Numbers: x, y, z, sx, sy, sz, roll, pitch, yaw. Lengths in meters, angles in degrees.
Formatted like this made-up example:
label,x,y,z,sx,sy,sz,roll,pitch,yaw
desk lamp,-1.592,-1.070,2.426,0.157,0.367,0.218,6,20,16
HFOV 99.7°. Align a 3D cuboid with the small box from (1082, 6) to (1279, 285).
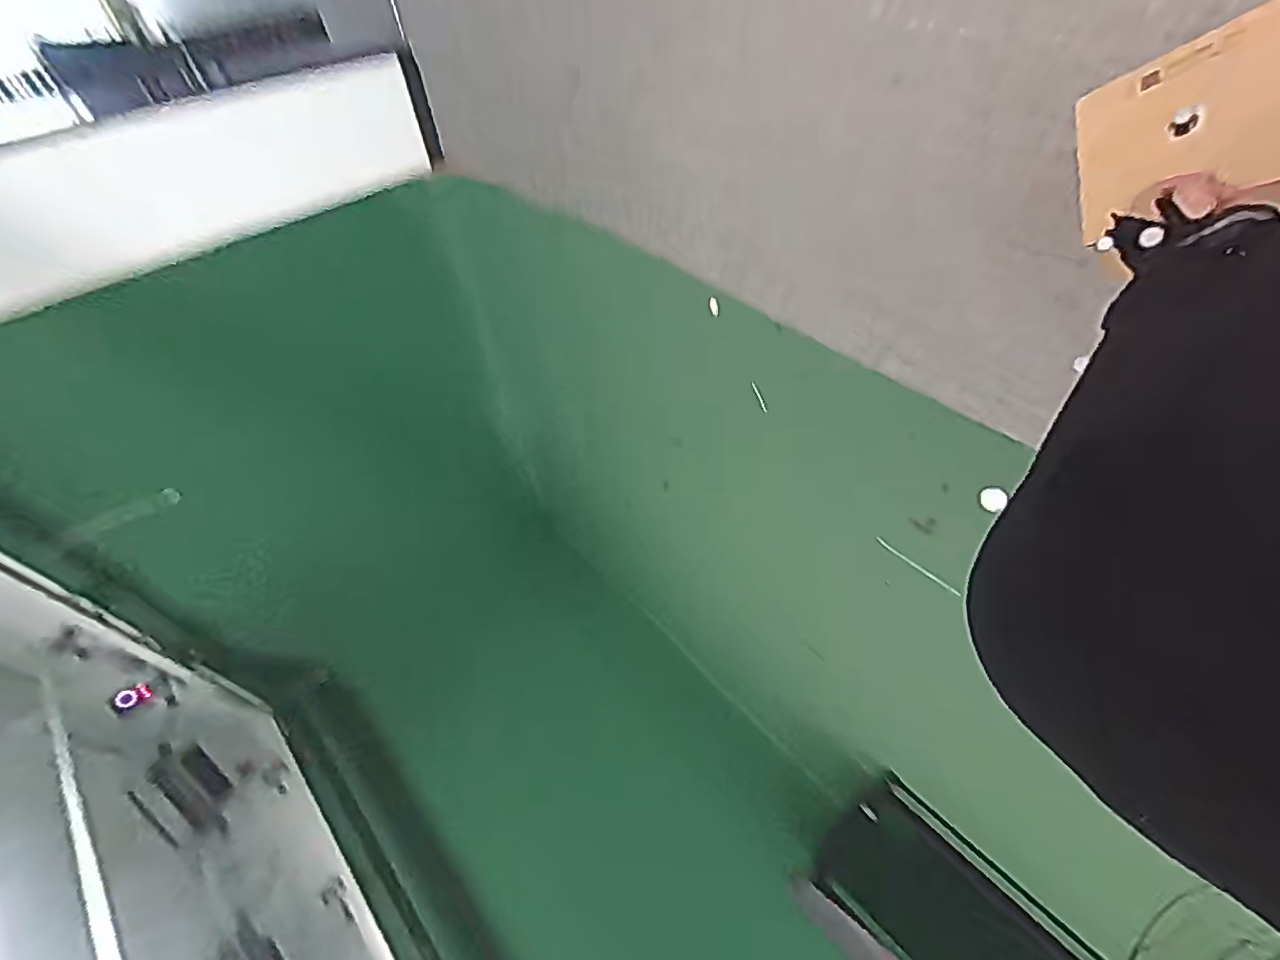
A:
label,x,y,z,sx,sy,sz,roll,pitch,yaw
small box,0.586,-0.333,0.559,0.168,0.179,0.176,-6,82,53
